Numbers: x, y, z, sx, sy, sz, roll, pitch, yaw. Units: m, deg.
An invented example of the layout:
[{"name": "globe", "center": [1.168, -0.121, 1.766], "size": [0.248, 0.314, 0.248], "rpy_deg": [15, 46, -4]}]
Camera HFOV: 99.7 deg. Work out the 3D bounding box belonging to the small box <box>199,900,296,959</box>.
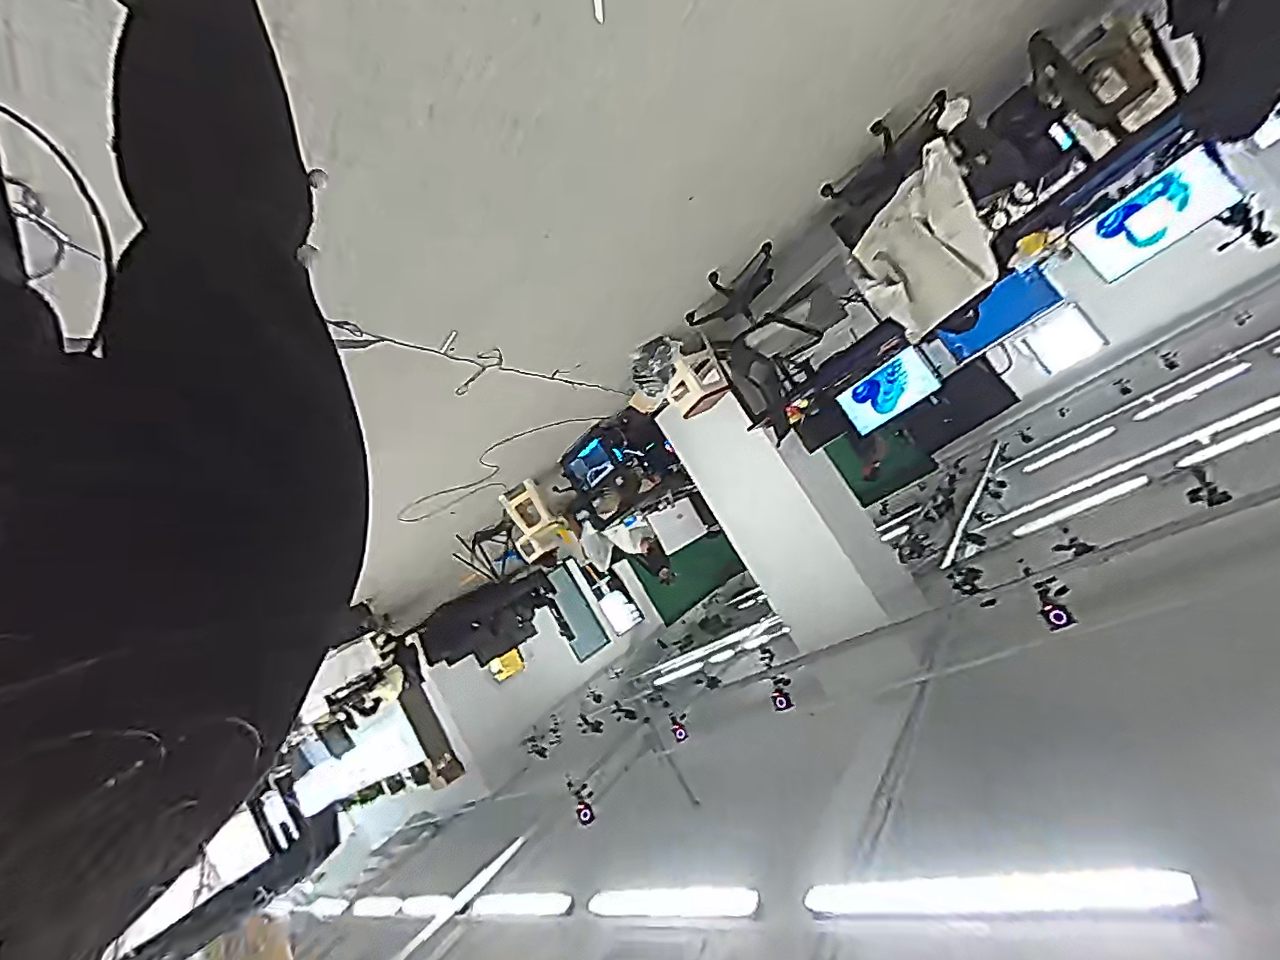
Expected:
[{"name": "small box", "center": [-1.126, 1.345, 1.546], "size": [0.179, 0.176, 0.168], "rpy_deg": [-36, 170, 38]}]
